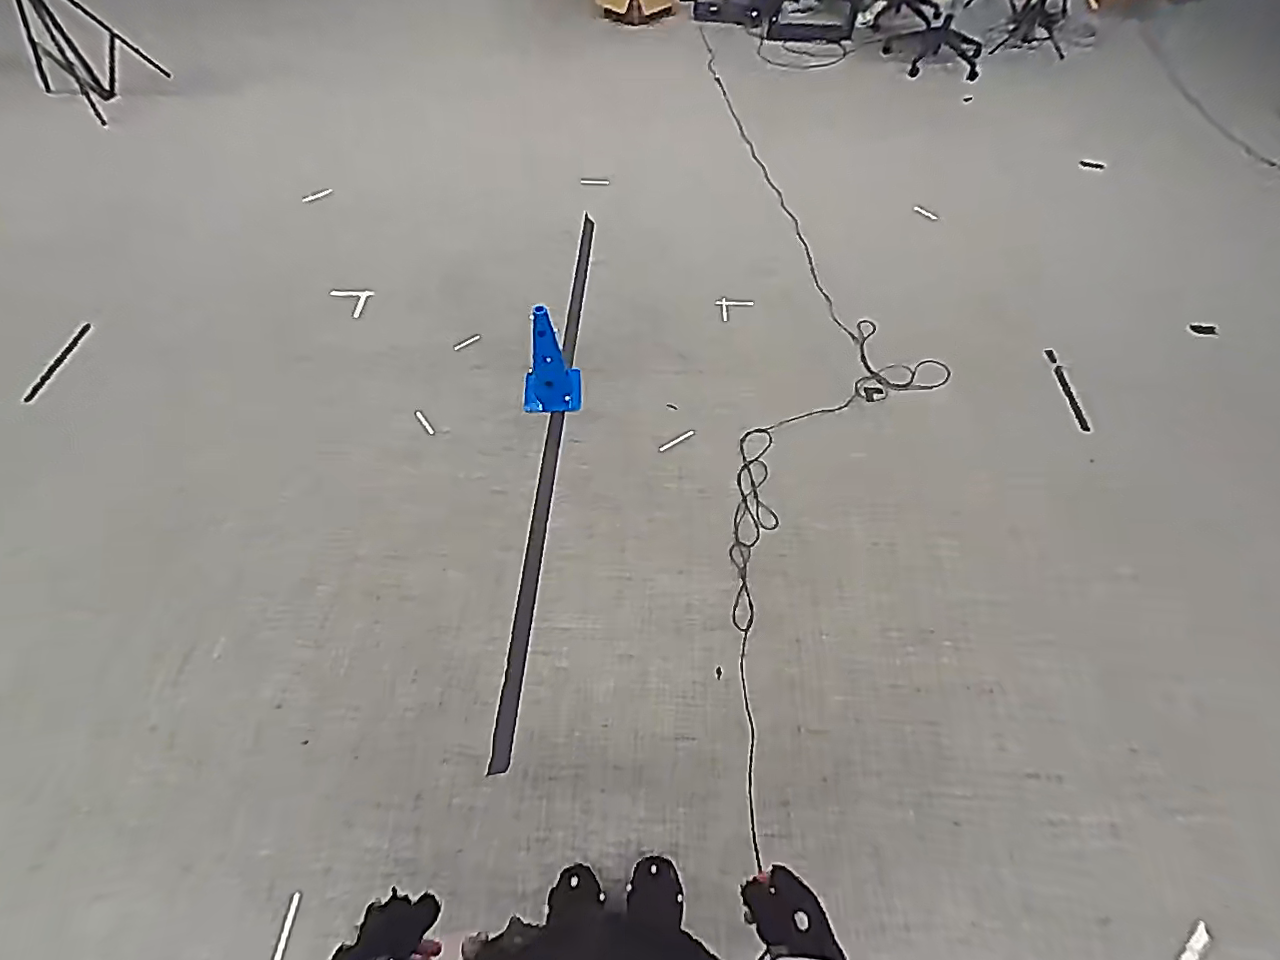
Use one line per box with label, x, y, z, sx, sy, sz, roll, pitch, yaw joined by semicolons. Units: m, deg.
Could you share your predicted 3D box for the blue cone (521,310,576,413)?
blue cone;-0.324;-0.405;1.799;0.192;0.380;0.193;-1;56;-1
